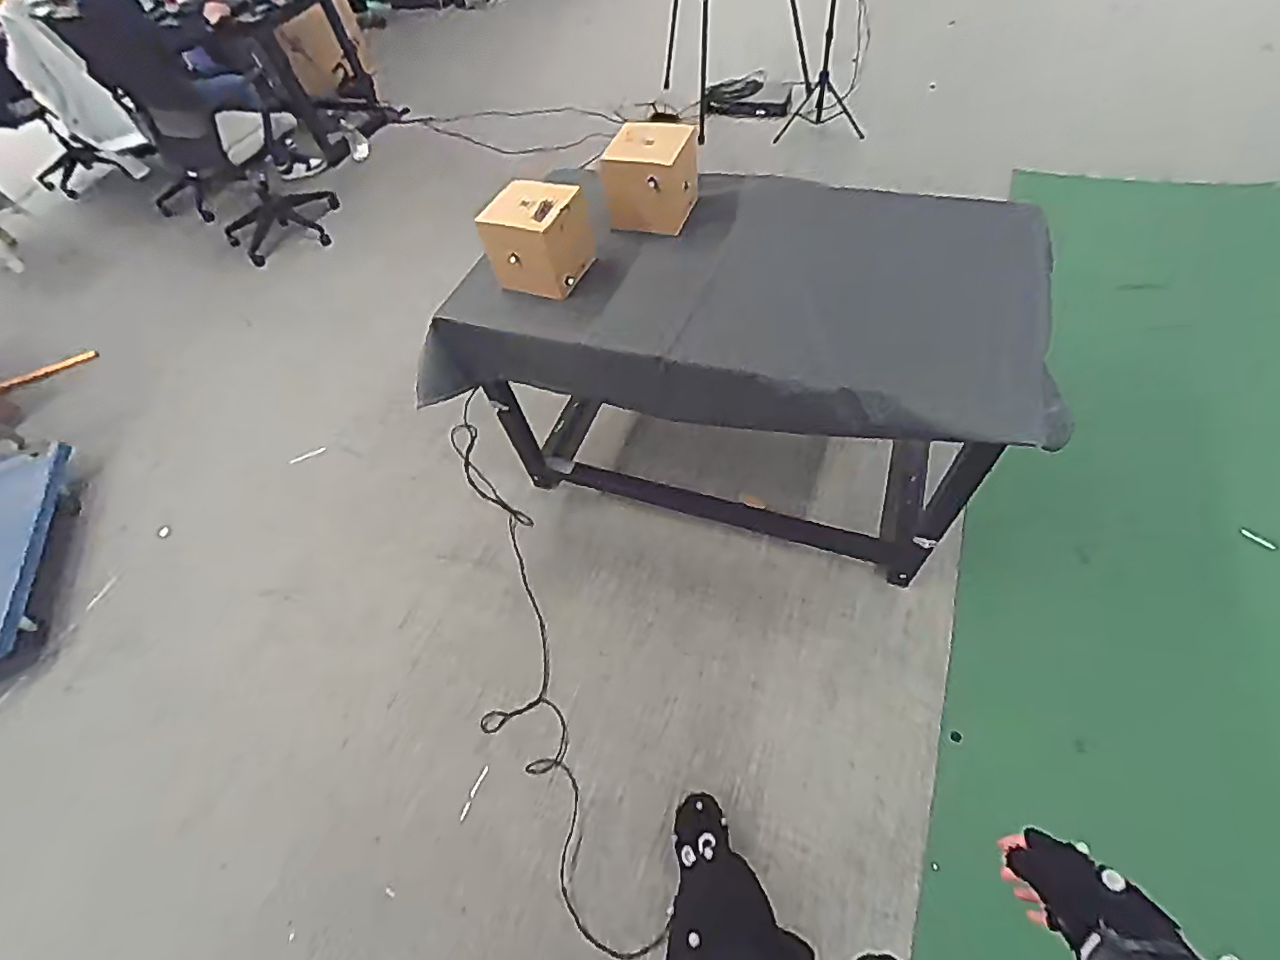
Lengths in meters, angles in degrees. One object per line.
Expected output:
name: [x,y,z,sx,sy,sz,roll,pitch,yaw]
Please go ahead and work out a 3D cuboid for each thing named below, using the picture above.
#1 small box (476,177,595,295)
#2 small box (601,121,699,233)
small box: [-0.219,-0.532,1.190,0.179,0.176,0.168,18,61,19]
small box: [0.033,-0.704,1.264,0.179,0.176,0.168,15,61,18]
